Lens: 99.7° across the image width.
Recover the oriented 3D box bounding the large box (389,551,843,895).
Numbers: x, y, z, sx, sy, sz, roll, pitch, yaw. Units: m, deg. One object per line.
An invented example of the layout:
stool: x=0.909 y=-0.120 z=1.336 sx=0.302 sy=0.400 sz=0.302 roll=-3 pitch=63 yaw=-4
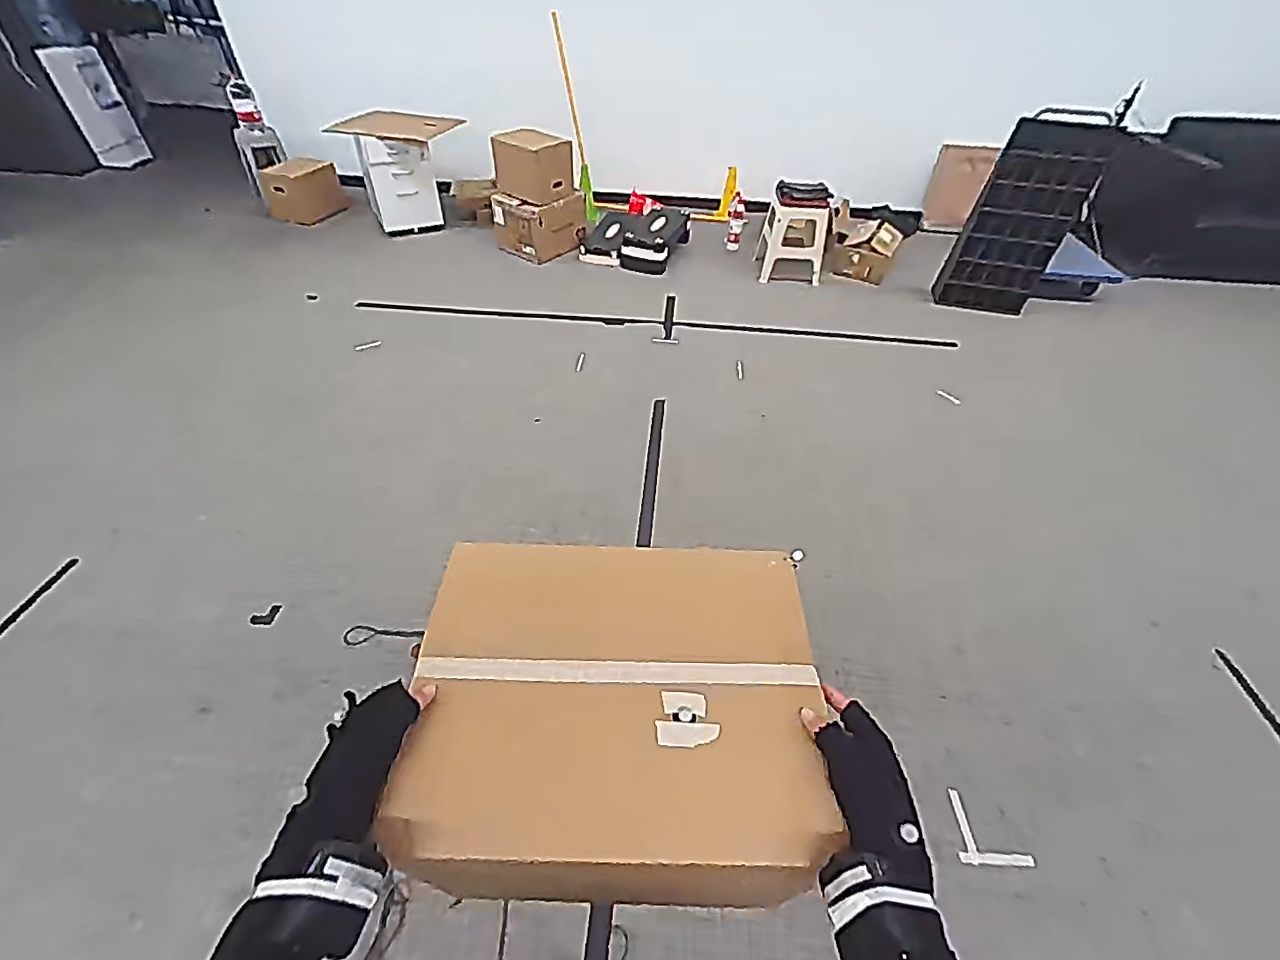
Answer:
large box: x=-0.024 y=0.306 z=0.673 sx=0.408 sy=0.320 sz=0.320 roll=2 pitch=48 yaw=-1
